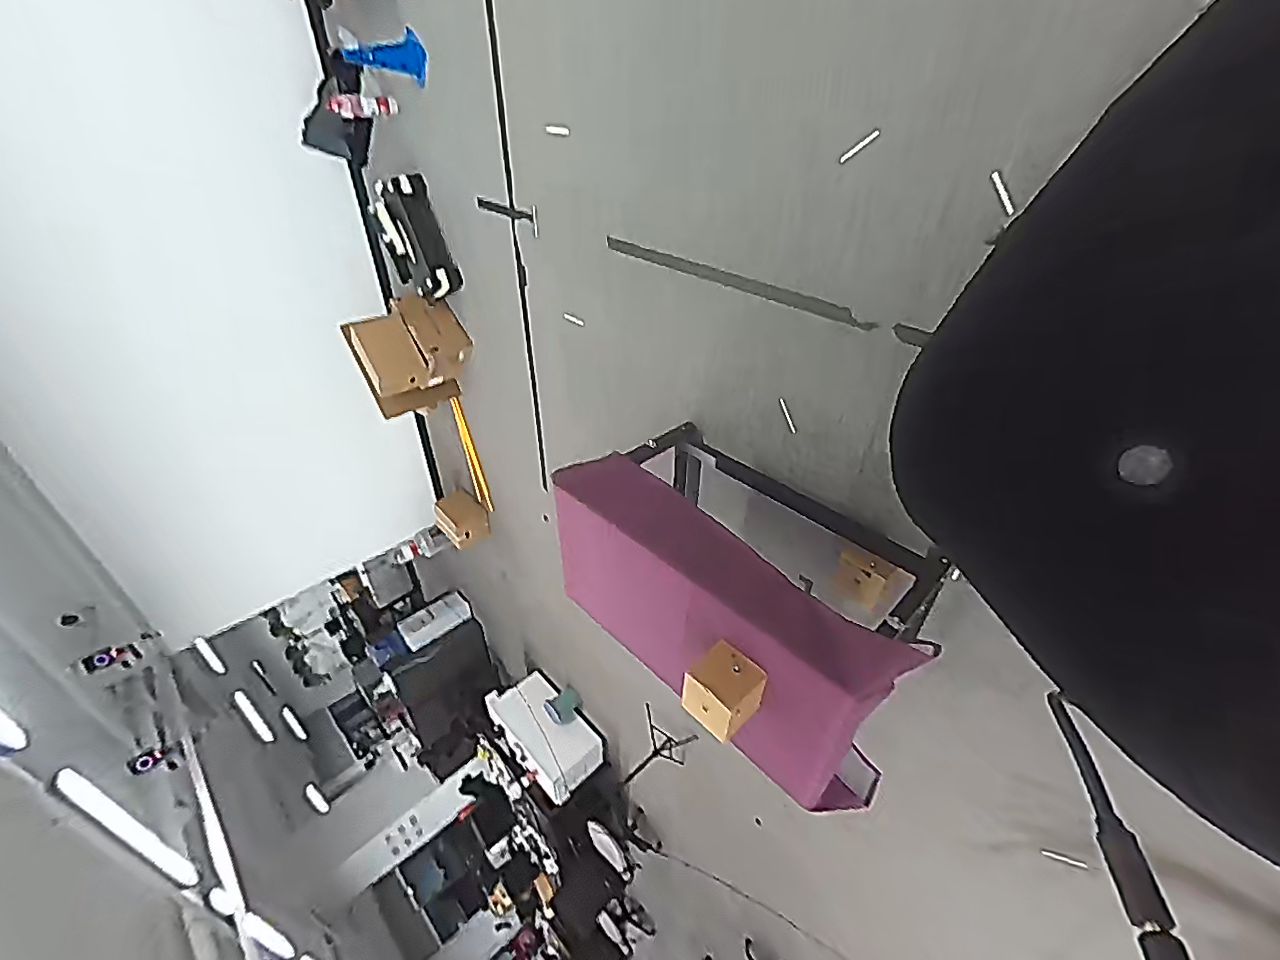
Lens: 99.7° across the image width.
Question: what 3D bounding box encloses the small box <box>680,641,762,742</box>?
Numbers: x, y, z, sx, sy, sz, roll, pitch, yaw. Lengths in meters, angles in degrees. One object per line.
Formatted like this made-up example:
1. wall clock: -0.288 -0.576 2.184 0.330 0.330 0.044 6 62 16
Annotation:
1. small box: 0.235 0.610 1.571 0.168 0.176 0.179 32 136 35
